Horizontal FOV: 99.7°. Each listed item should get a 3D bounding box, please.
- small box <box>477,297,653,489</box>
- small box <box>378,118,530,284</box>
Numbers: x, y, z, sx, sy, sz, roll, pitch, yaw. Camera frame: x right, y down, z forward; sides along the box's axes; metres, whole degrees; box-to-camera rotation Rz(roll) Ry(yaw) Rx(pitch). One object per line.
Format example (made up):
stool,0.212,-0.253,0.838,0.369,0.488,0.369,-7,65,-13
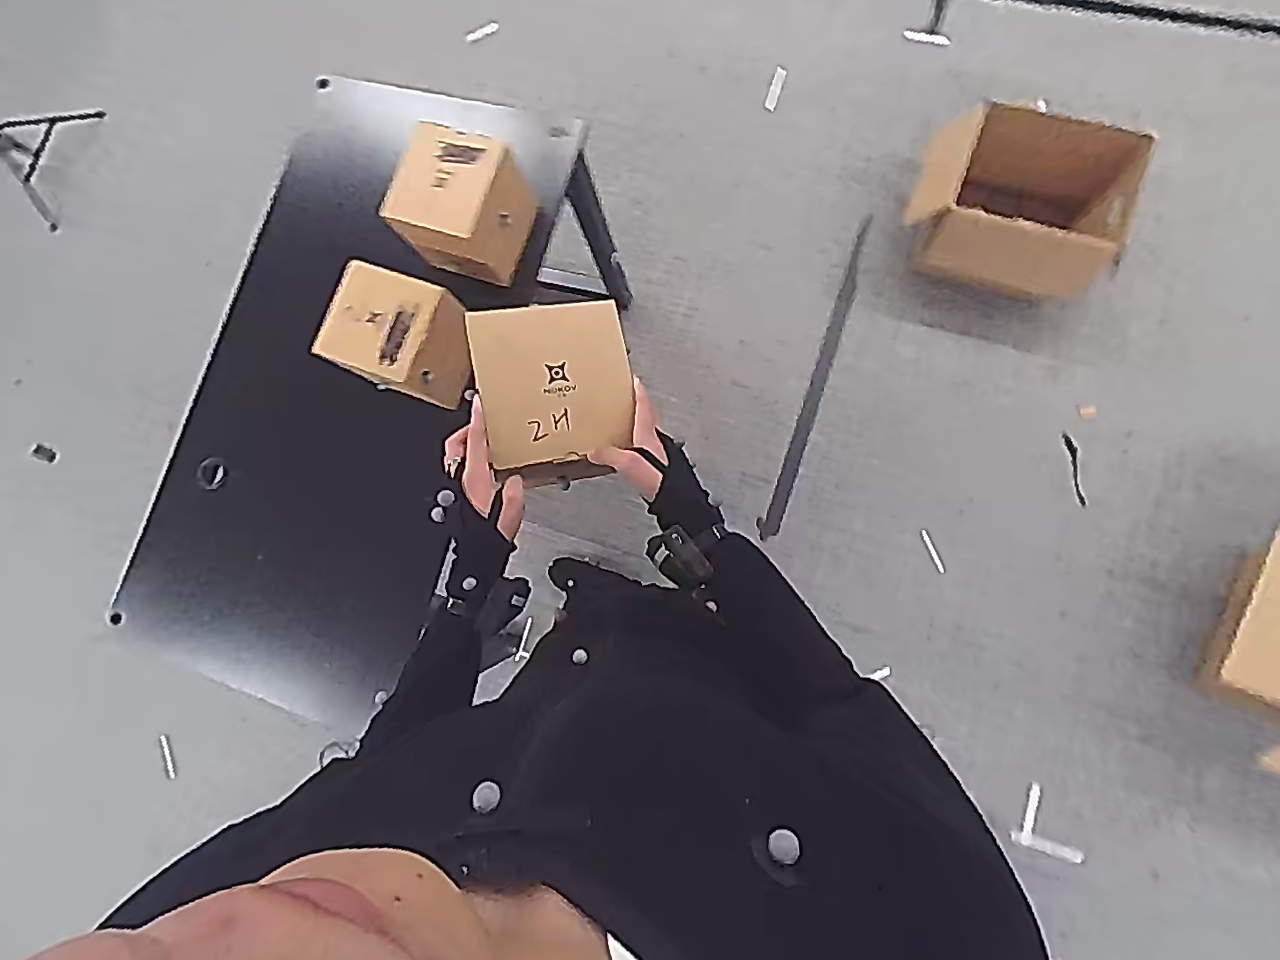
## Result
small box,-0.097,-0.096,0.650,0.168,0.176,0.179,-10,83,-14
small box,-0.310,-0.477,0.943,0.168,0.176,0.179,18,87,10
